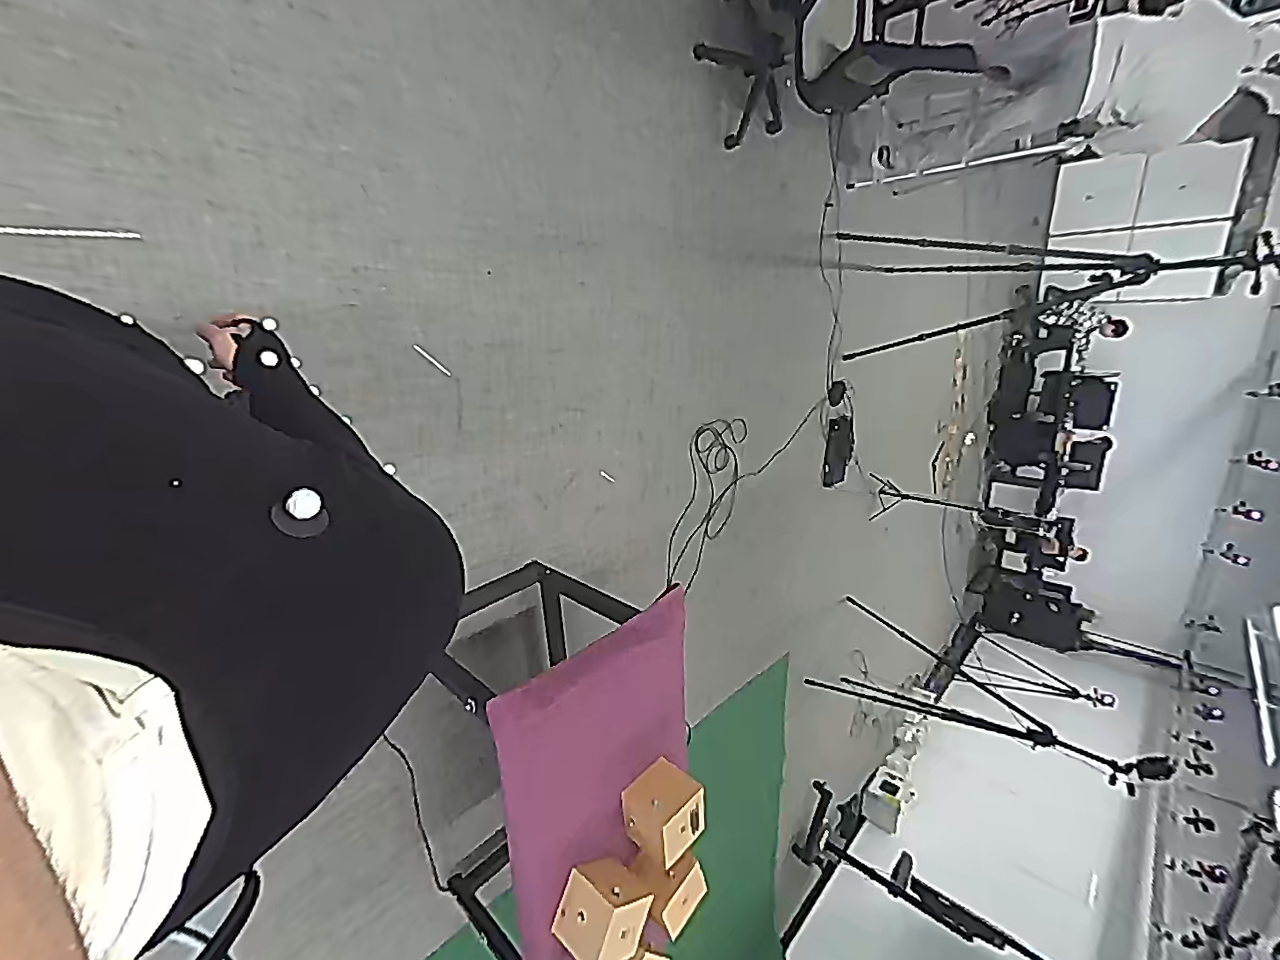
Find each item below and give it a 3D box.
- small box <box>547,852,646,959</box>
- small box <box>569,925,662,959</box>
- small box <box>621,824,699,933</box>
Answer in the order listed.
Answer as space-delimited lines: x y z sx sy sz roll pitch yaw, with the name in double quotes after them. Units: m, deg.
-0.120 1.151 1.463 0.179 0.176 0.168 30 78 -48 "small box"
-0.073 1.403 1.586 0.168 0.176 0.179 -53 132 -24 "small box"
0.053 1.229 1.678 0.179 0.176 0.168 -36 124 -35 "small box"
